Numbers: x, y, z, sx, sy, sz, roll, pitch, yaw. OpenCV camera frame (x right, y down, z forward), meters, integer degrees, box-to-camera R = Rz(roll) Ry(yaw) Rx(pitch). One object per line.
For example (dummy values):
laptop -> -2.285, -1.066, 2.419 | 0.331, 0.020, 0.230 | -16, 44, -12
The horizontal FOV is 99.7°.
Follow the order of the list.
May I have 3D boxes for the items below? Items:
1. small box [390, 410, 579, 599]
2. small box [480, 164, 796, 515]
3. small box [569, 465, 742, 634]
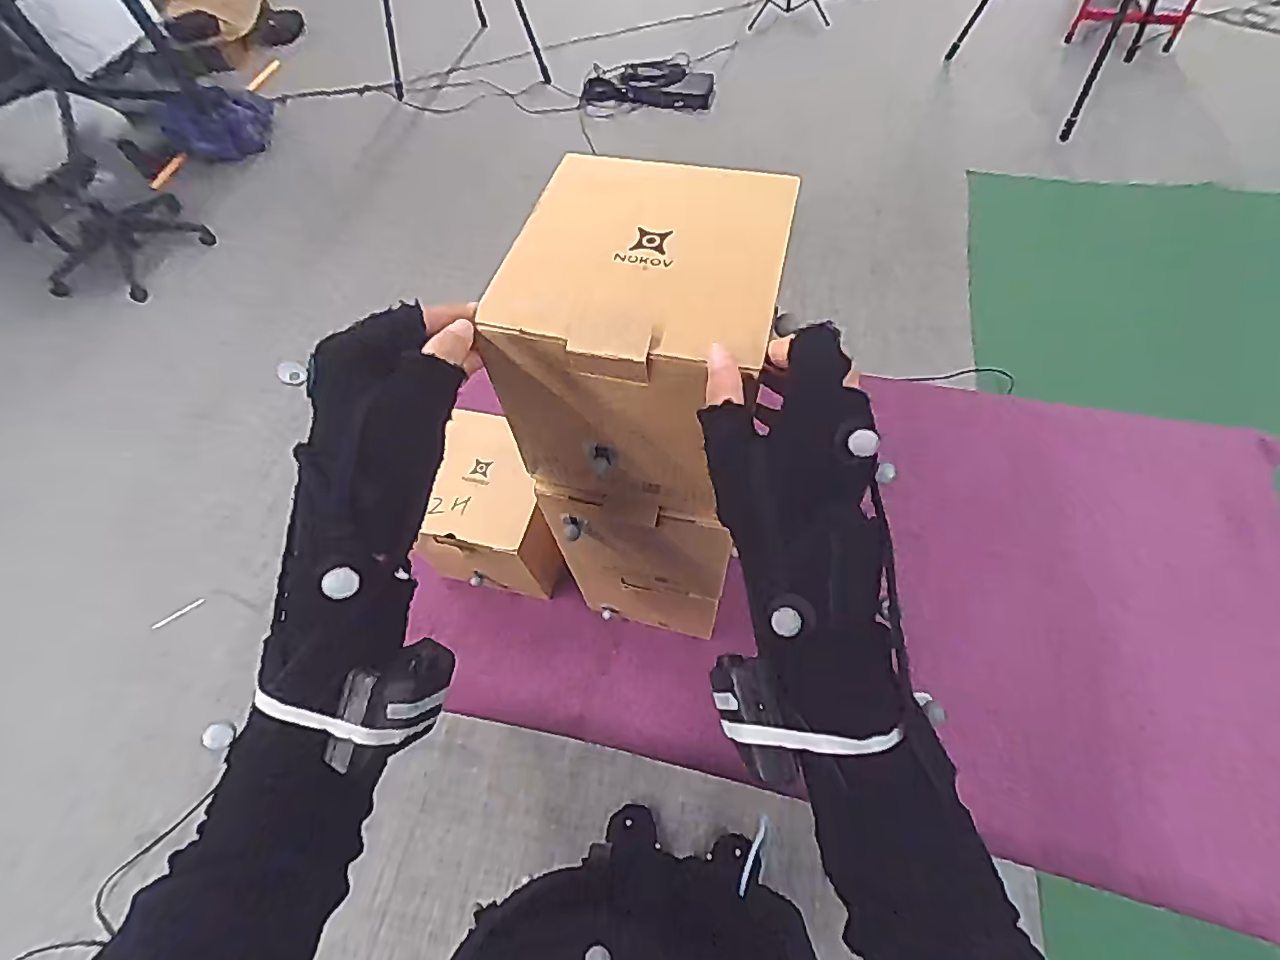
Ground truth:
small box -> -0.187, 0.036, 0.719 | 0.168, 0.176, 0.179 | 10, 61, 10
small box -> 0.009, -0.099, 0.406 | 0.168, 0.176, 0.179 | 11, 61, 10
small box -> 0.027, 0.077, 0.682 | 0.168, 0.176, 0.179 | 12, 61, 10
